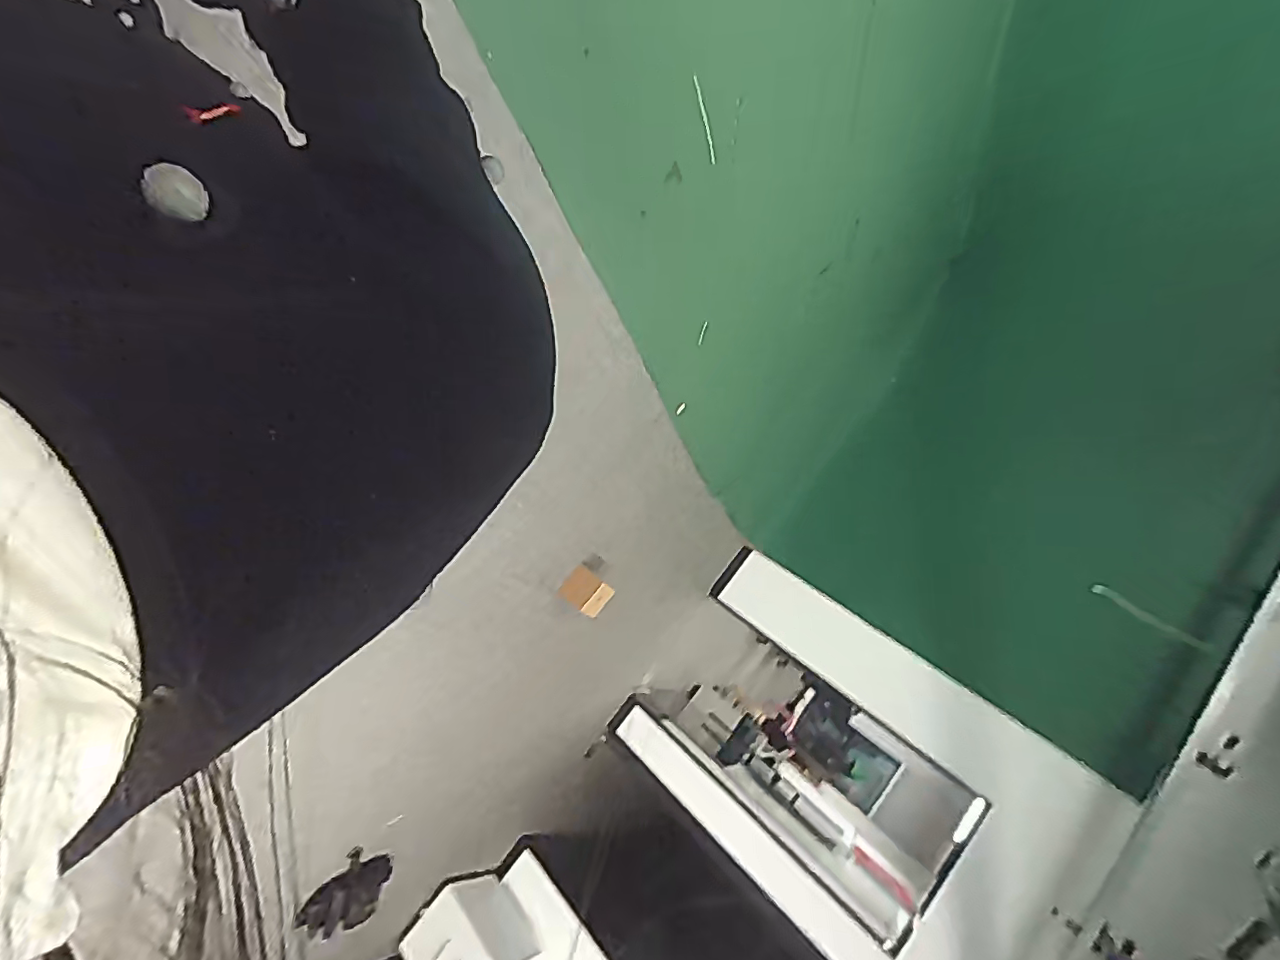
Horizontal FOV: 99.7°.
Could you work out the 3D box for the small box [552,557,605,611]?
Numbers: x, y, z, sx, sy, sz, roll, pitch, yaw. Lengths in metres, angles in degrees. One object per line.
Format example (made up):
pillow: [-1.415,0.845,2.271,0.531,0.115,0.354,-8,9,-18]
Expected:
small box: [-0.312,0.512,2.667,0.179,0.176,0.168,-52,149,-9]
